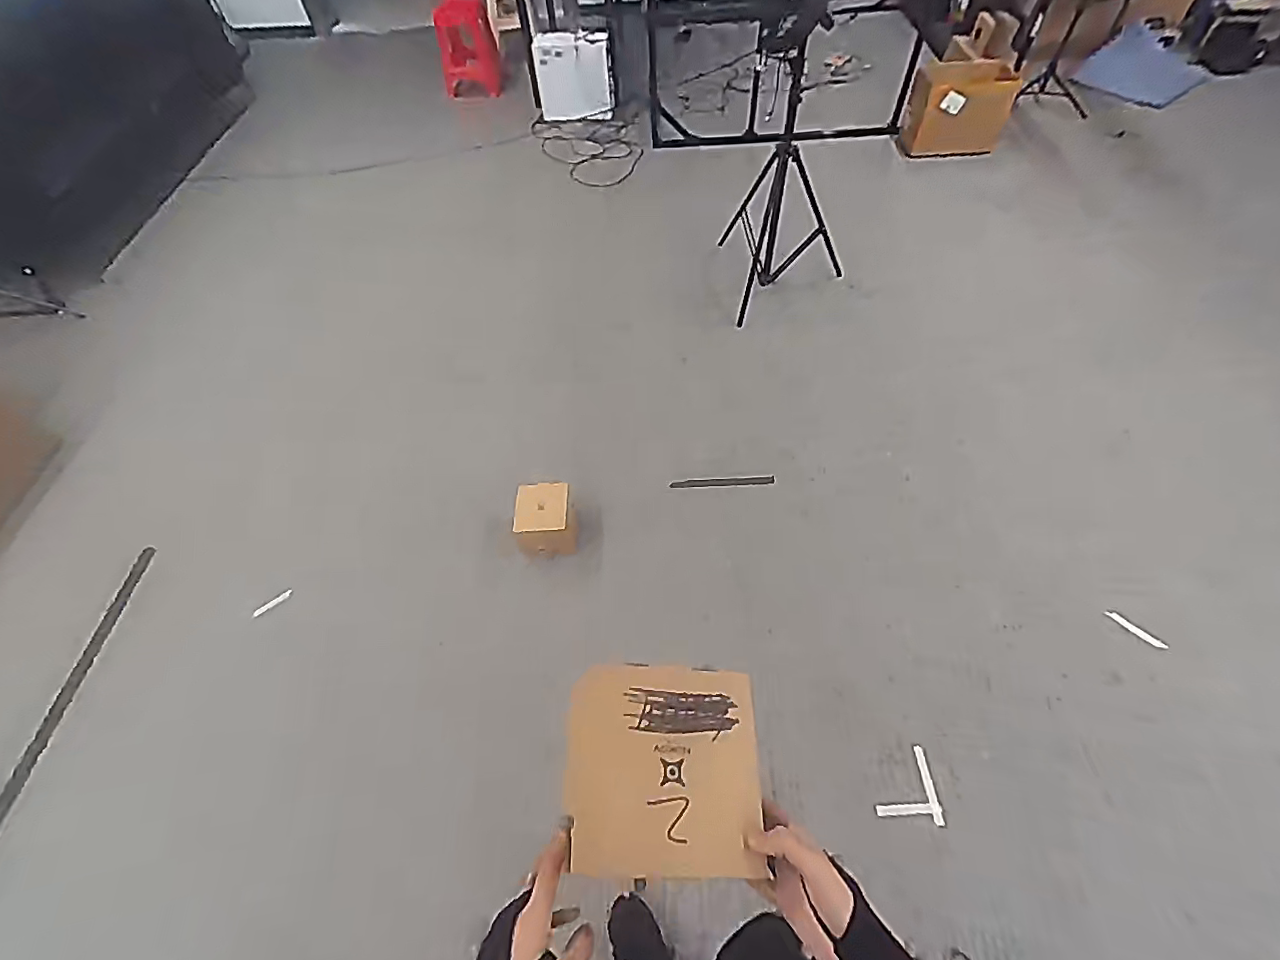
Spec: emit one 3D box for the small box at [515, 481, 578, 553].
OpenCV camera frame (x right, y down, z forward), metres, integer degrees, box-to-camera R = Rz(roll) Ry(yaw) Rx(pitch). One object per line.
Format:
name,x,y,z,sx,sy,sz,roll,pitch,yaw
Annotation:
small box,-0.299,0.123,1.768,0.168,0.176,0.179,-3,55,3
